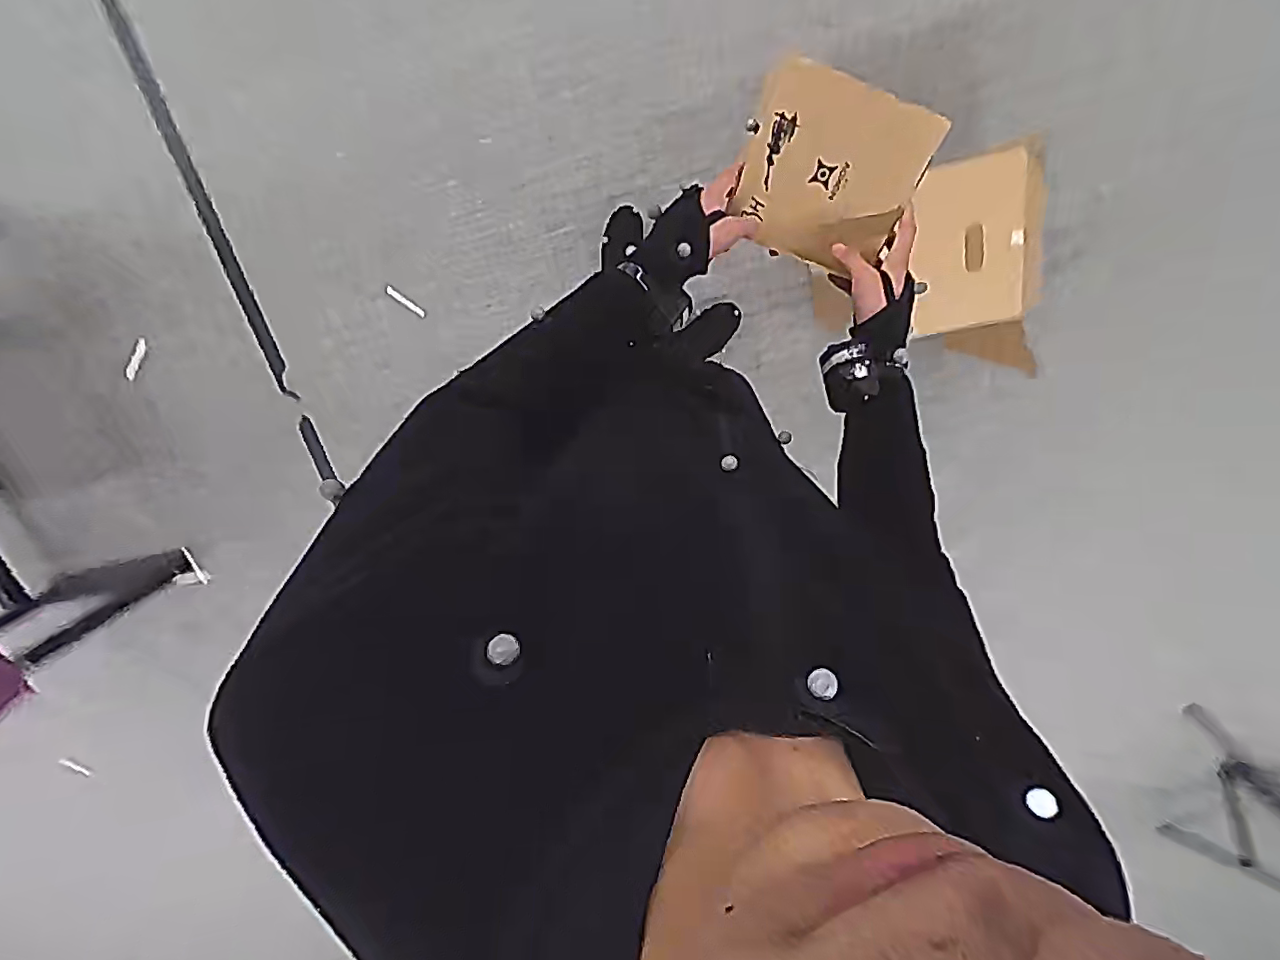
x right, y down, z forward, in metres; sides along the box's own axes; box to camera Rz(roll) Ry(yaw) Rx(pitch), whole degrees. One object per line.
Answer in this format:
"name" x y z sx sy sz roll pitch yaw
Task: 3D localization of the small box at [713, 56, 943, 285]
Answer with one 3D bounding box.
"small box" 0.196 -0.351 0.624 0.179 0.176 0.168 18 121 -6
